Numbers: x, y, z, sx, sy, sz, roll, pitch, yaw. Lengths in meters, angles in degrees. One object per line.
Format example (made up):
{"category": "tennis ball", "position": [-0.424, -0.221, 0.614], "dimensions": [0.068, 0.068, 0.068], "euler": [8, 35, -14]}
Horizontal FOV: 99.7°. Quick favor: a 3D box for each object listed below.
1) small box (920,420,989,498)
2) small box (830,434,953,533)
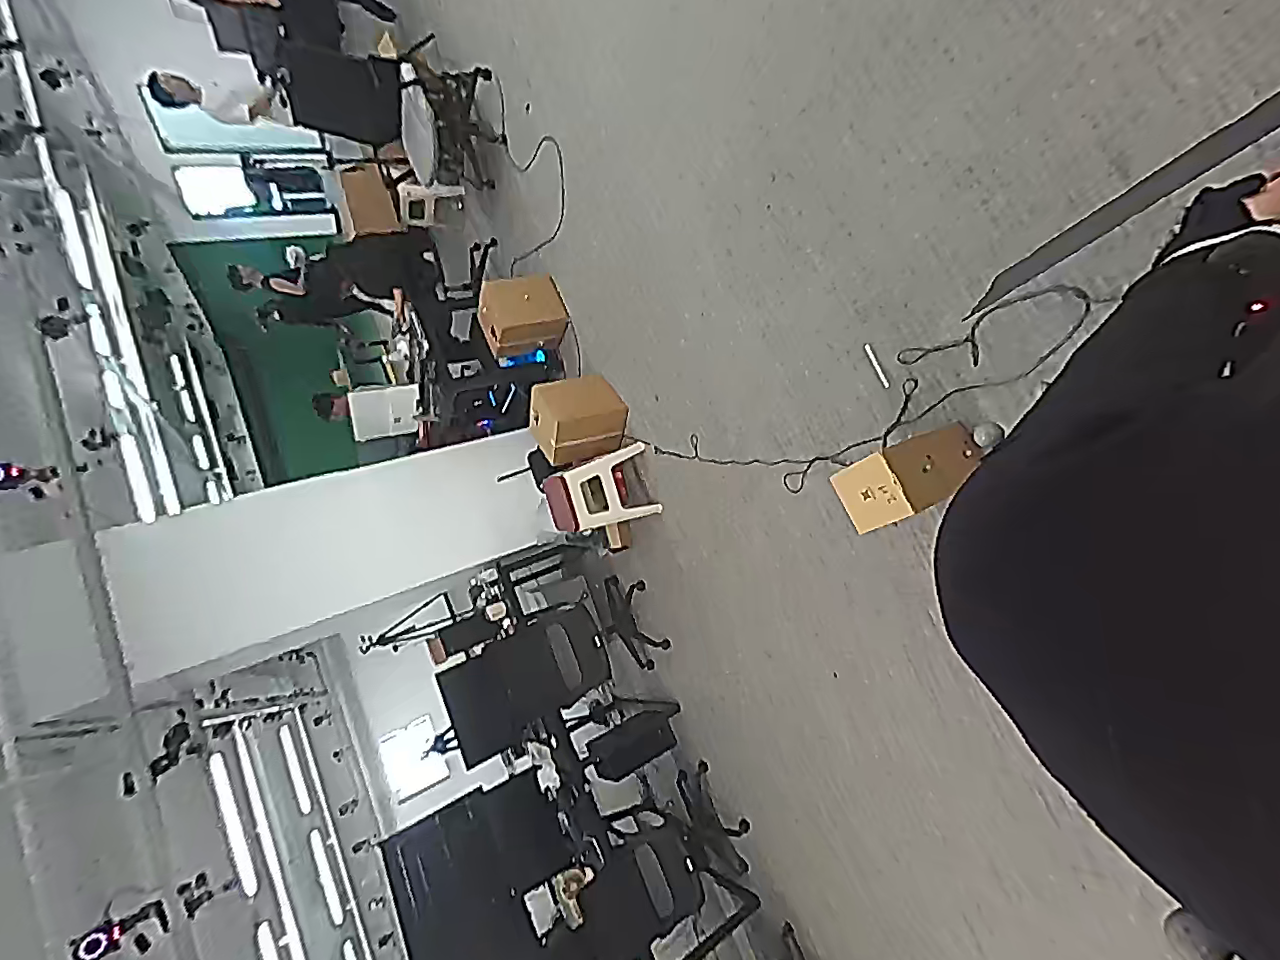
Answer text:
{"category": "small box", "position": [0.750, -0.037, 1.401], "dimensions": [0.179, 0.176, 0.168], "euler": [-40, 72, 59]}
{"category": "small box", "position": [0.613, 0.009, 1.321], "dimensions": [0.168, 0.176, 0.179], "euler": [65, 150, 10]}
